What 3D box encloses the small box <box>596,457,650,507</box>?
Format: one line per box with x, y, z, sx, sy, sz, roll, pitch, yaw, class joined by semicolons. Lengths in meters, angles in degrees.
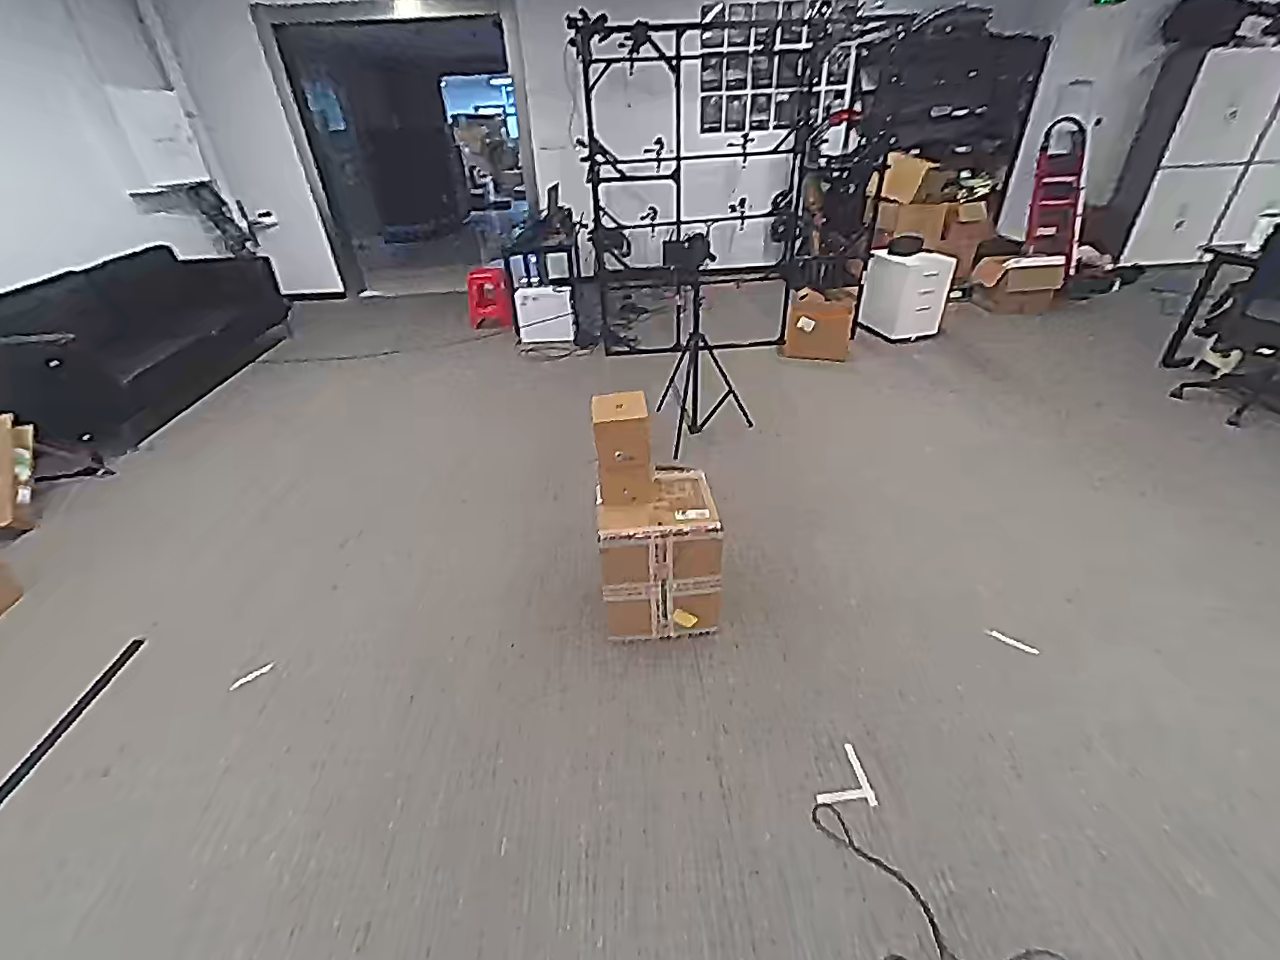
-0.057;-0.032;1.803;0.168;0.176;0.179;-6;36;-2;small box

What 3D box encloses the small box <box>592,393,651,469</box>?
-0.059;-0.153;1.692;0.168;0.176;0.179;-7;36;-2;small box
